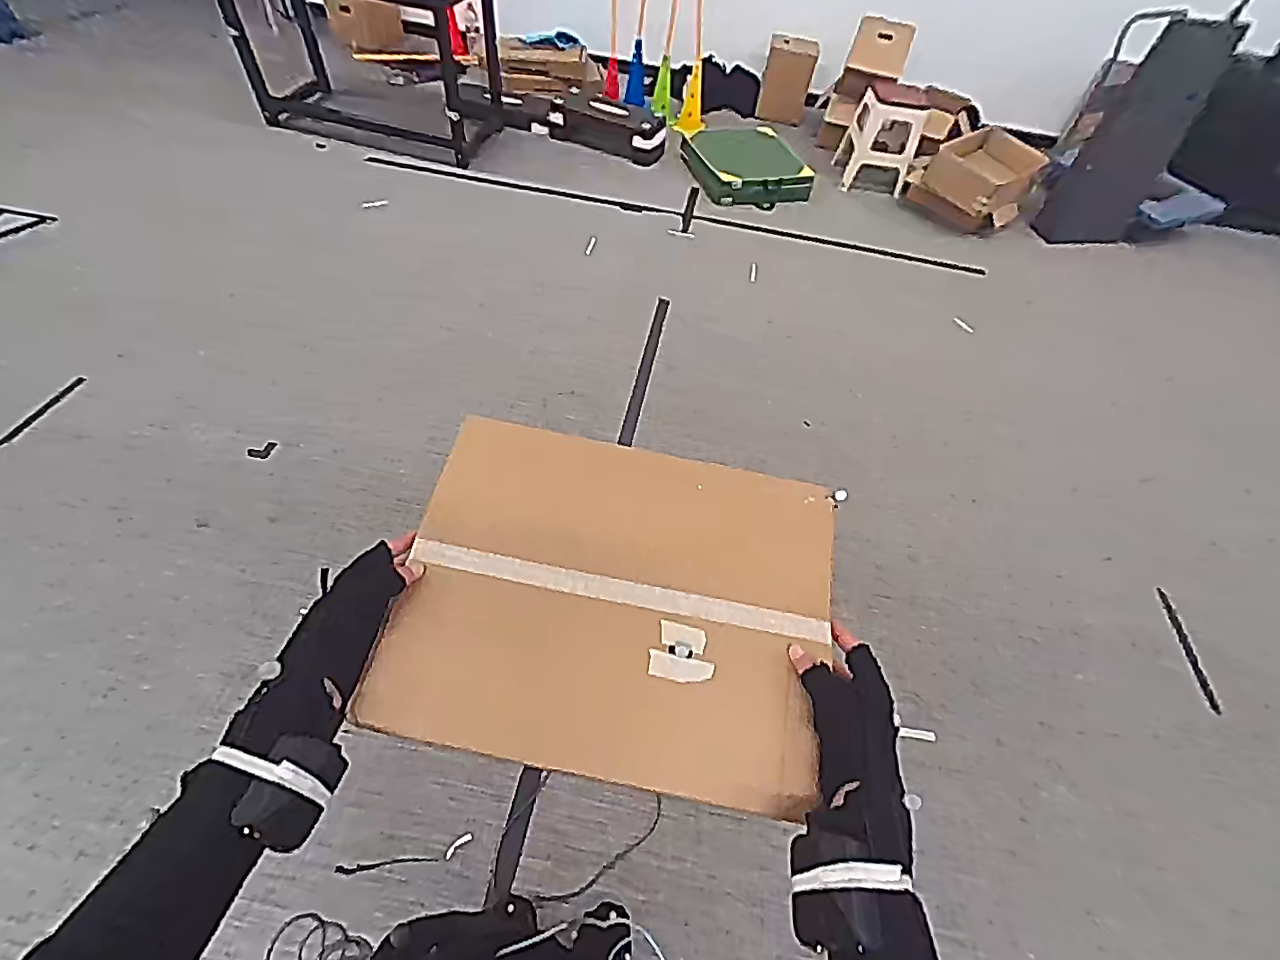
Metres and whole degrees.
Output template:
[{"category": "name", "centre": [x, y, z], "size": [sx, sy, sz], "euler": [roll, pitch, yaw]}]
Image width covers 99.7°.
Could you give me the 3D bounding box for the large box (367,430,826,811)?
[{"category": "large box", "centre": [-0.029, 0.180, 0.660], "size": [0.408, 0.320, 0.320], "euler": [12, 63, 1]}]
